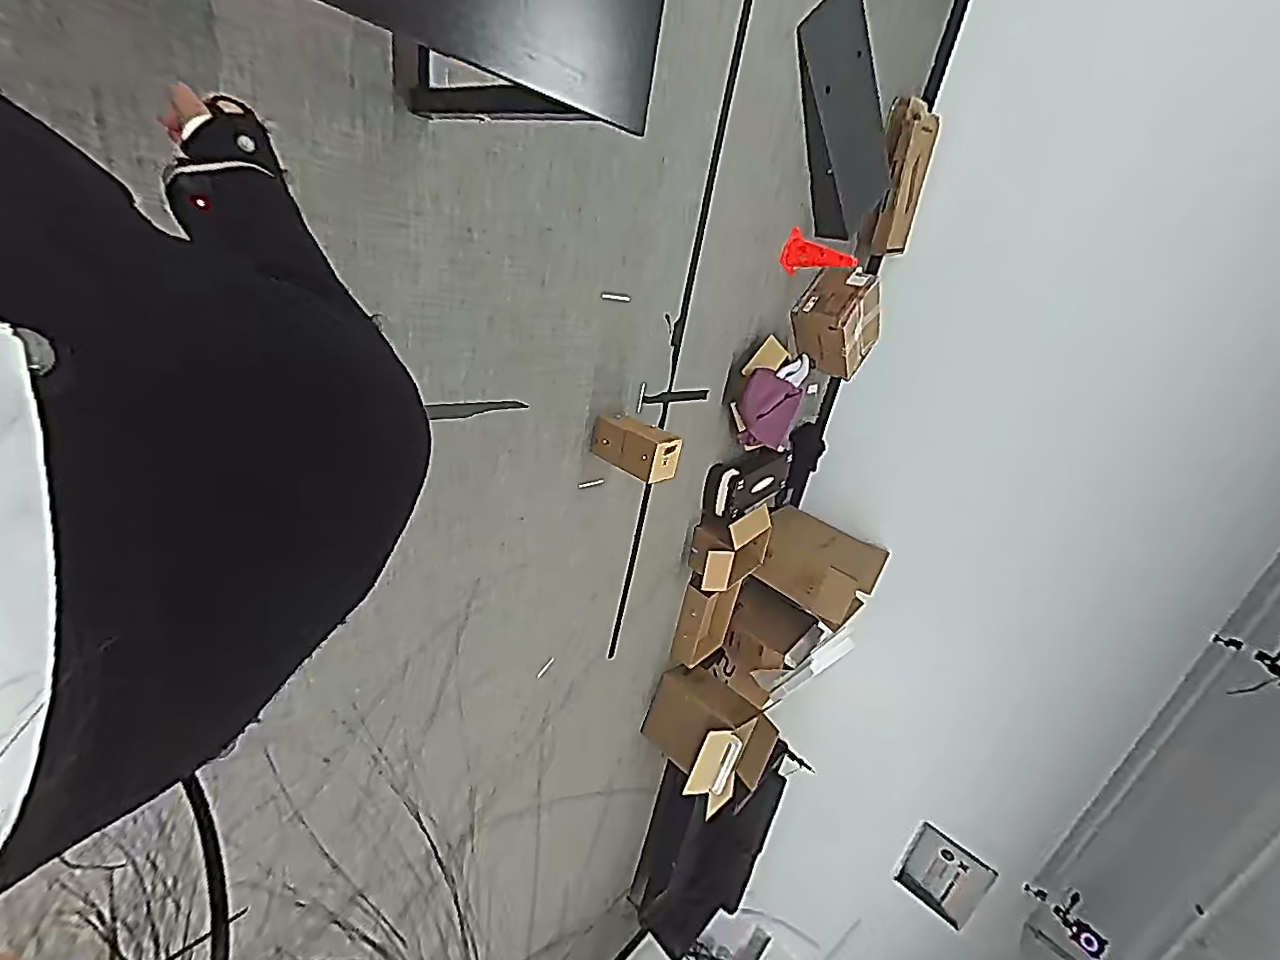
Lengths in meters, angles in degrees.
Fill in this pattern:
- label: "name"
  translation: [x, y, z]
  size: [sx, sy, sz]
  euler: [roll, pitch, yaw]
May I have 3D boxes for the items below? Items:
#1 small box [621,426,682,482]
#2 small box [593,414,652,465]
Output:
- label: "small box"
  translation: [0.044, -0.116, 2.209]
  size: [0.168, 0.176, 0.179]
  euler: [-15, 125, -47]
- label: "small box"
  translation: [-0.077, -0.178, 2.304]
  size: [0.179, 0.176, 0.168]
  euler: [-12, 123, -47]
